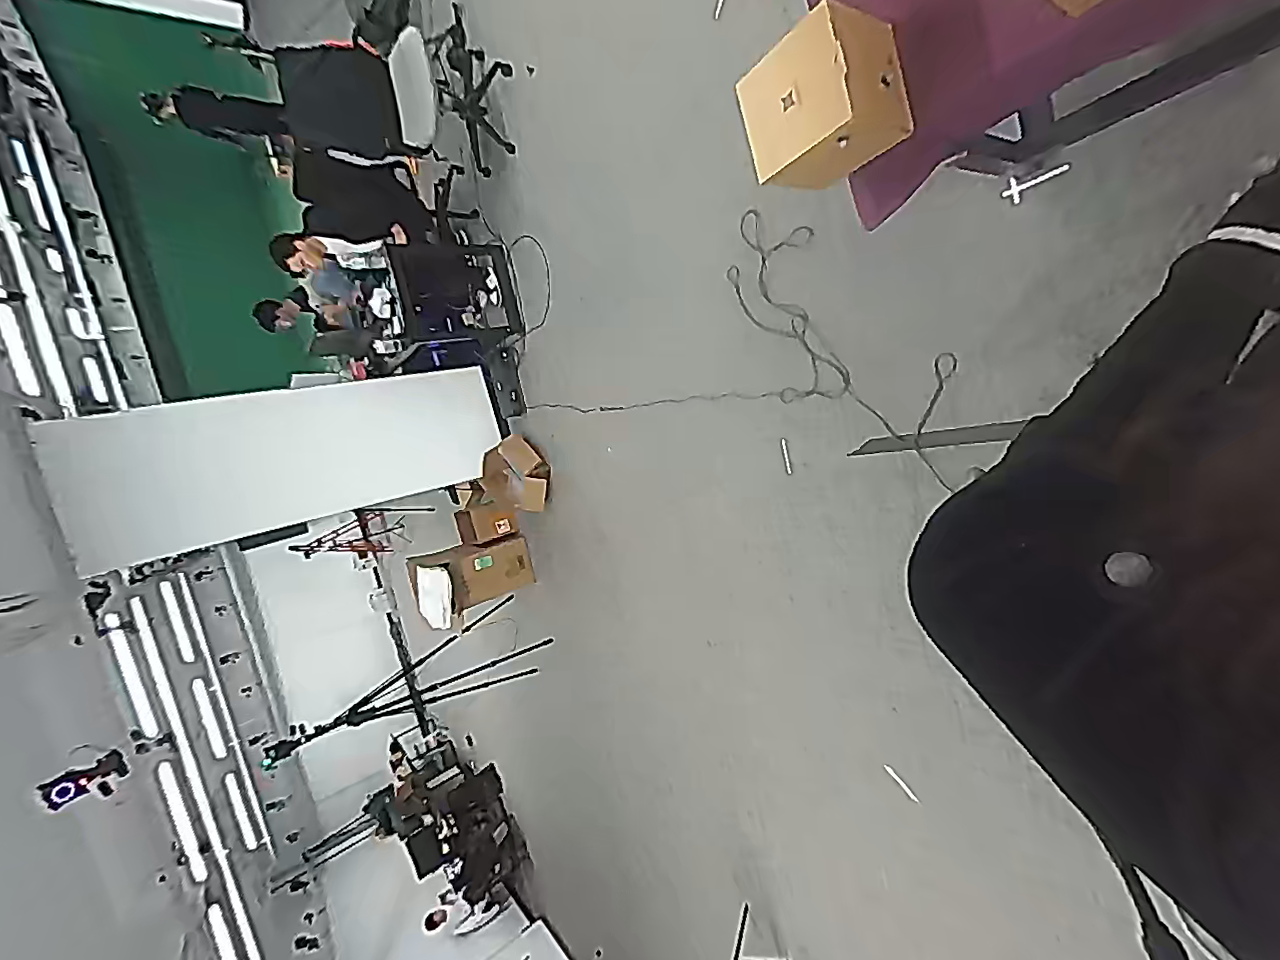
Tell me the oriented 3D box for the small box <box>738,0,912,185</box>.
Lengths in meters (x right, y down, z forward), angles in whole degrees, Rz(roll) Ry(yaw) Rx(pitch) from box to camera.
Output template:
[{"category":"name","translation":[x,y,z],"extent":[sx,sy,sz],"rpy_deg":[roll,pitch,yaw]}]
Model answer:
[{"category":"small box","translation":[0.288,-0.588,0.847],"extent":[0.179,0.176,0.168],"rpy_deg":[-11,96,54]}]
